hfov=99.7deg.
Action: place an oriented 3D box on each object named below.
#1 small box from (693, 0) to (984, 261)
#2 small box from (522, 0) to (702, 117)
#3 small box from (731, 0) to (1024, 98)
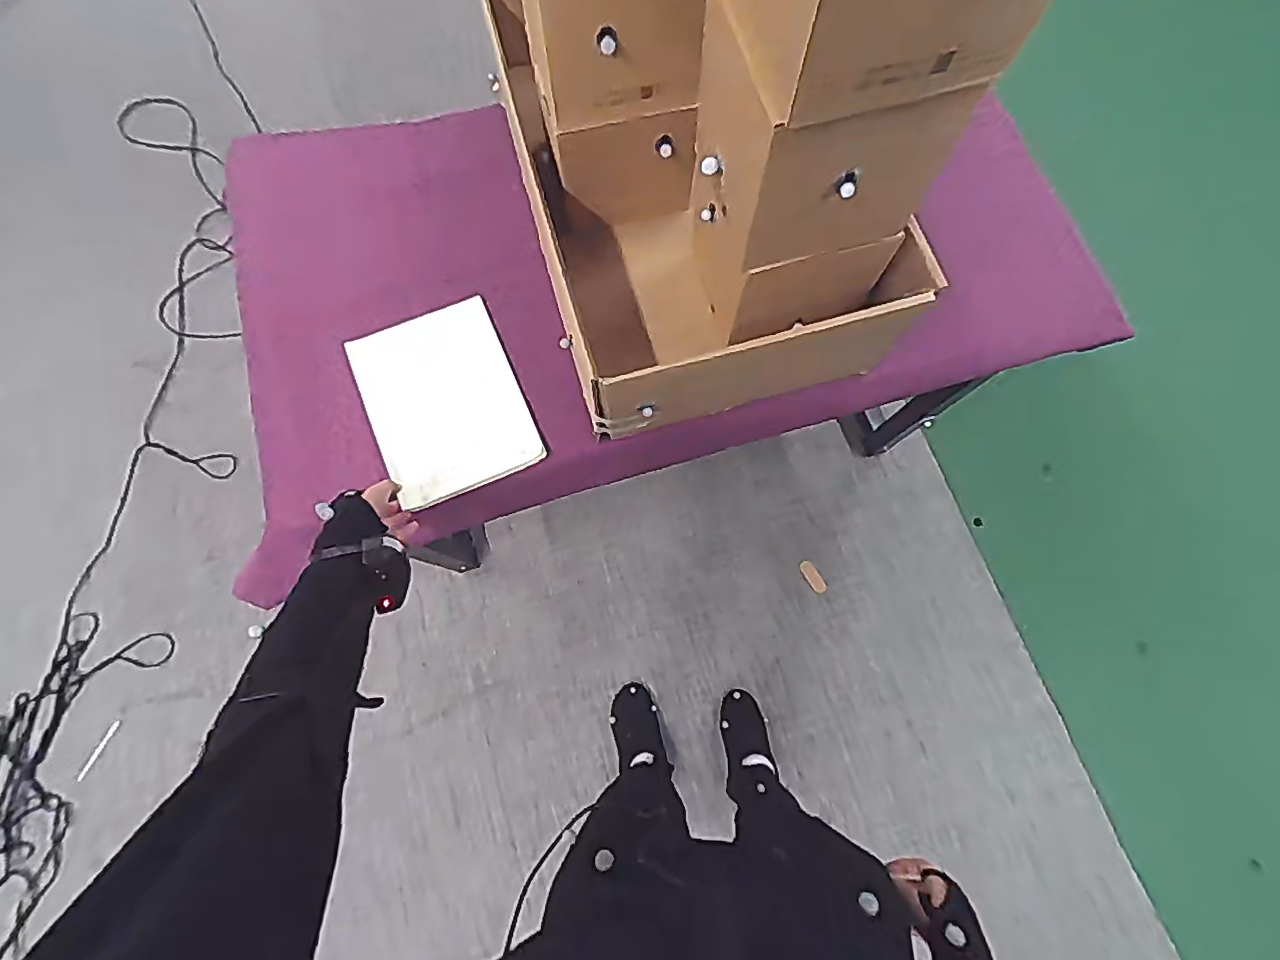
[{"bbox_3d":[0.156,-0.335,0.495,0.179,0.176,0.168,-15,74,-2],"label":"small box"},{"bbox_3d":[-0.036,-0.507,0.549,0.168,0.176,0.179,-15,77,-4],"label":"small box"},{"bbox_3d":[0.156,-0.378,0.338,0.168,0.176,0.179,-14,74,-3],"label":"small box"}]
